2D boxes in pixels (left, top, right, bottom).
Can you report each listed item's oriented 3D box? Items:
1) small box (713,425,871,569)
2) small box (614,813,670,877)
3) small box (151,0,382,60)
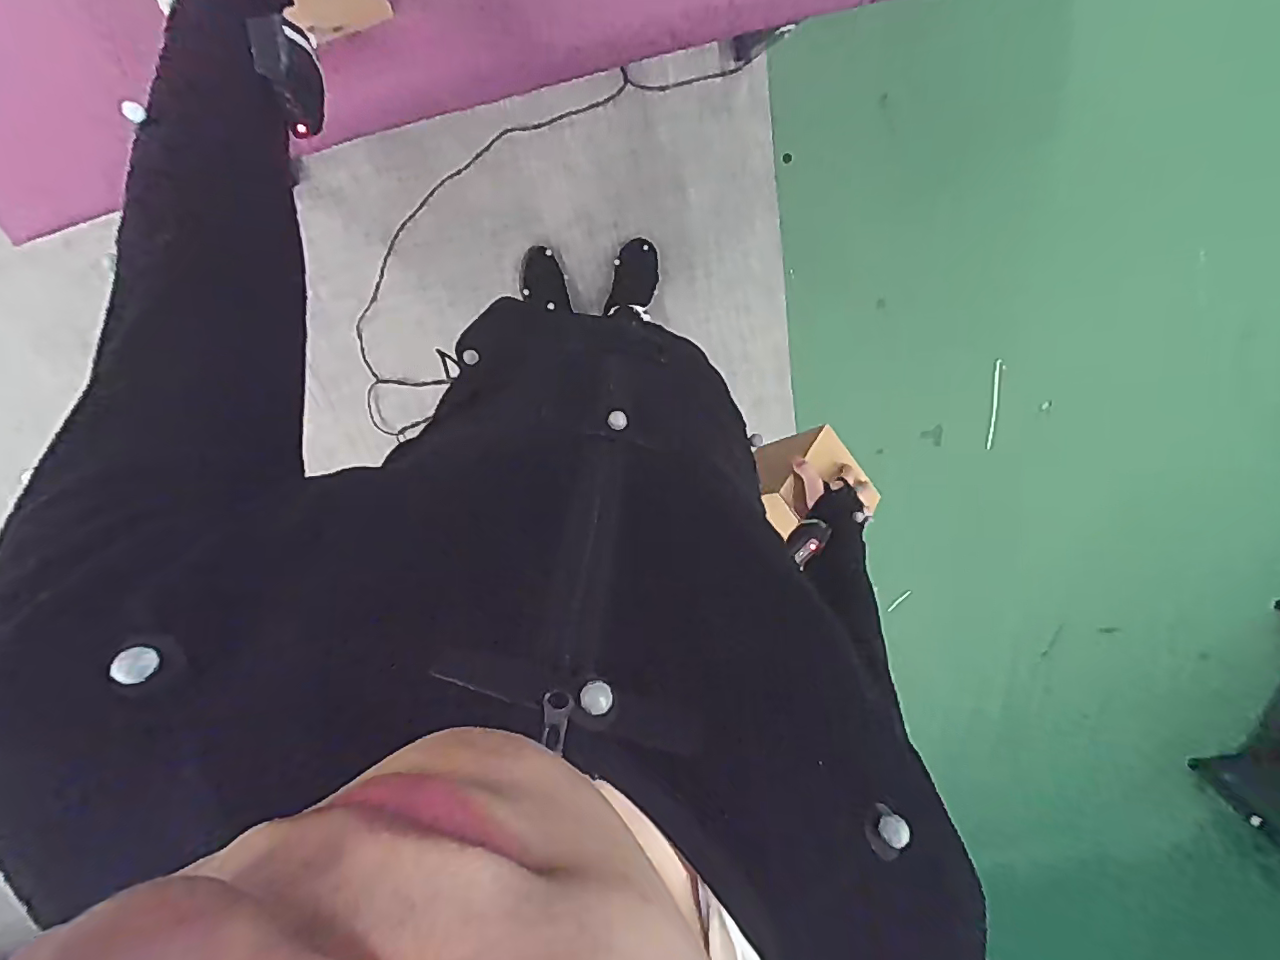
[{"bbox_3d":[0.251,0.038,0.925,0.168,0.176,0.179,51,59,-13],"label":"small box"},{"bbox_3d":[0.008,1.310,1.896,0.168,0.176,0.179,-12,117,-2],"label":"small box"},{"bbox_3d":[-0.380,-0.541,0.509,0.168,0.176,0.179,-18,118,2],"label":"small box"}]
